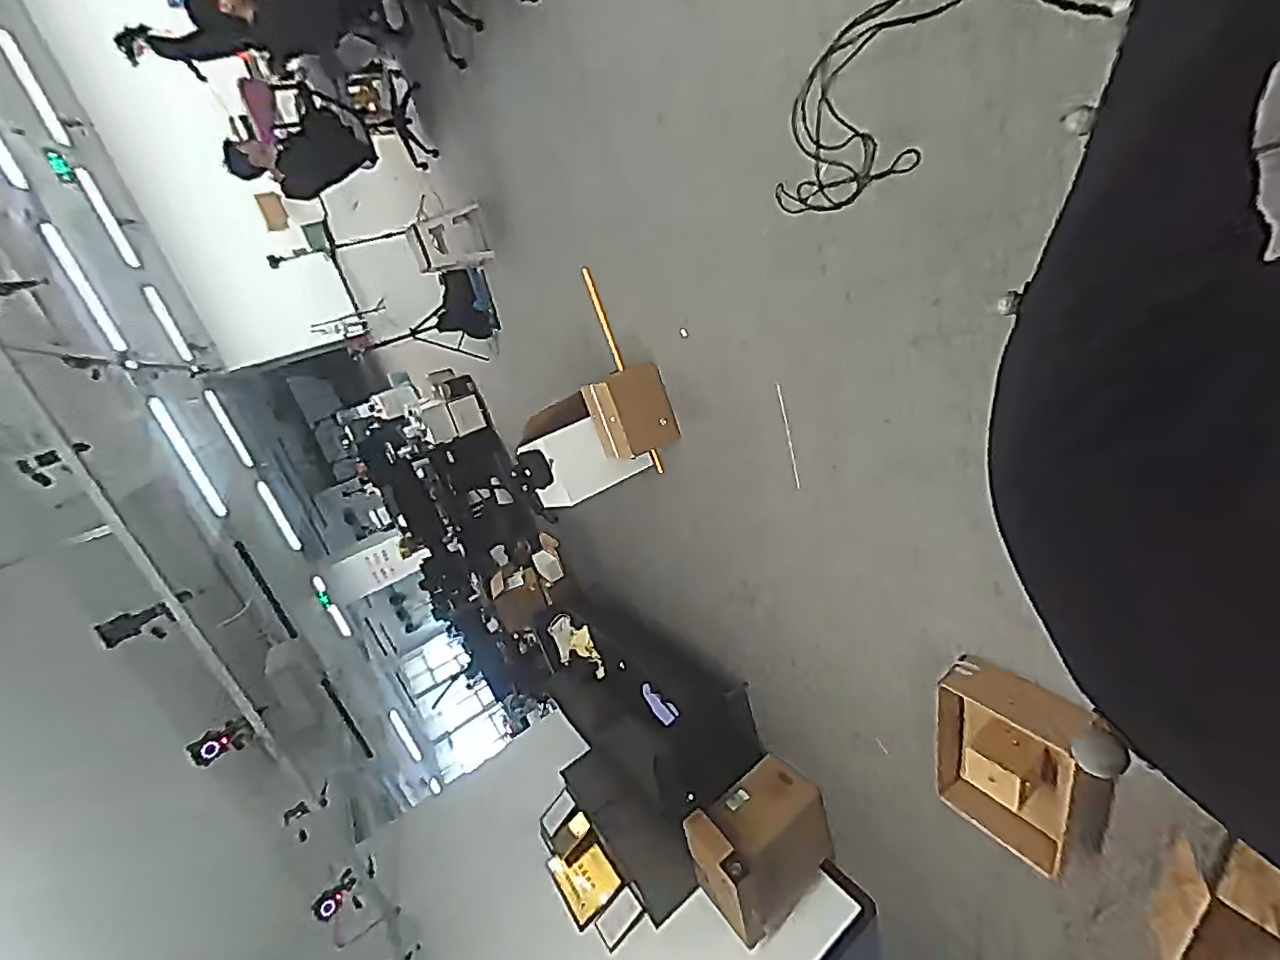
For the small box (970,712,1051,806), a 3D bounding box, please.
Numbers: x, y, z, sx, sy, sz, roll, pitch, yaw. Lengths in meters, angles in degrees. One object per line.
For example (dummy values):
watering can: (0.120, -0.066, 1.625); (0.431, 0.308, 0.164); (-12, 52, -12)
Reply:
small box: (1.230, 0.921, 1.796); (0.168, 0.176, 0.179); (25, 136, 55)
